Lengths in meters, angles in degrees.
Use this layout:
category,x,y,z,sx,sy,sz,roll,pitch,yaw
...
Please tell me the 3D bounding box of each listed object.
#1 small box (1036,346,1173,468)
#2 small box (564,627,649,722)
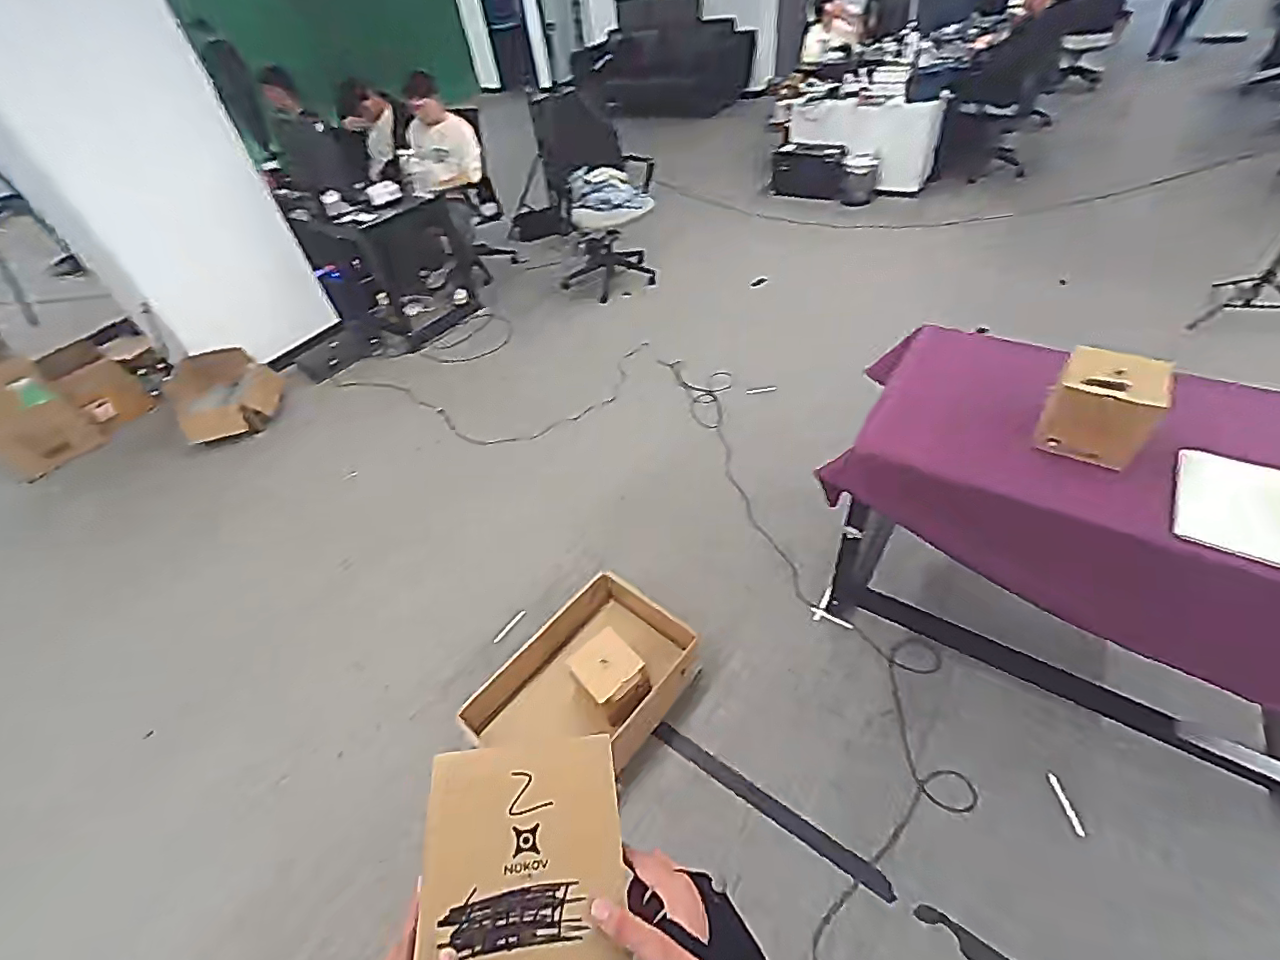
category,x,y,z,sx,sy,sz,roll,pitch,yaw
small box,0.974,-0.154,1.145,0.168,0.176,0.179,24,53,29
small box,-0.090,0.571,1.567,0.168,0.176,0.179,-35,50,-23
